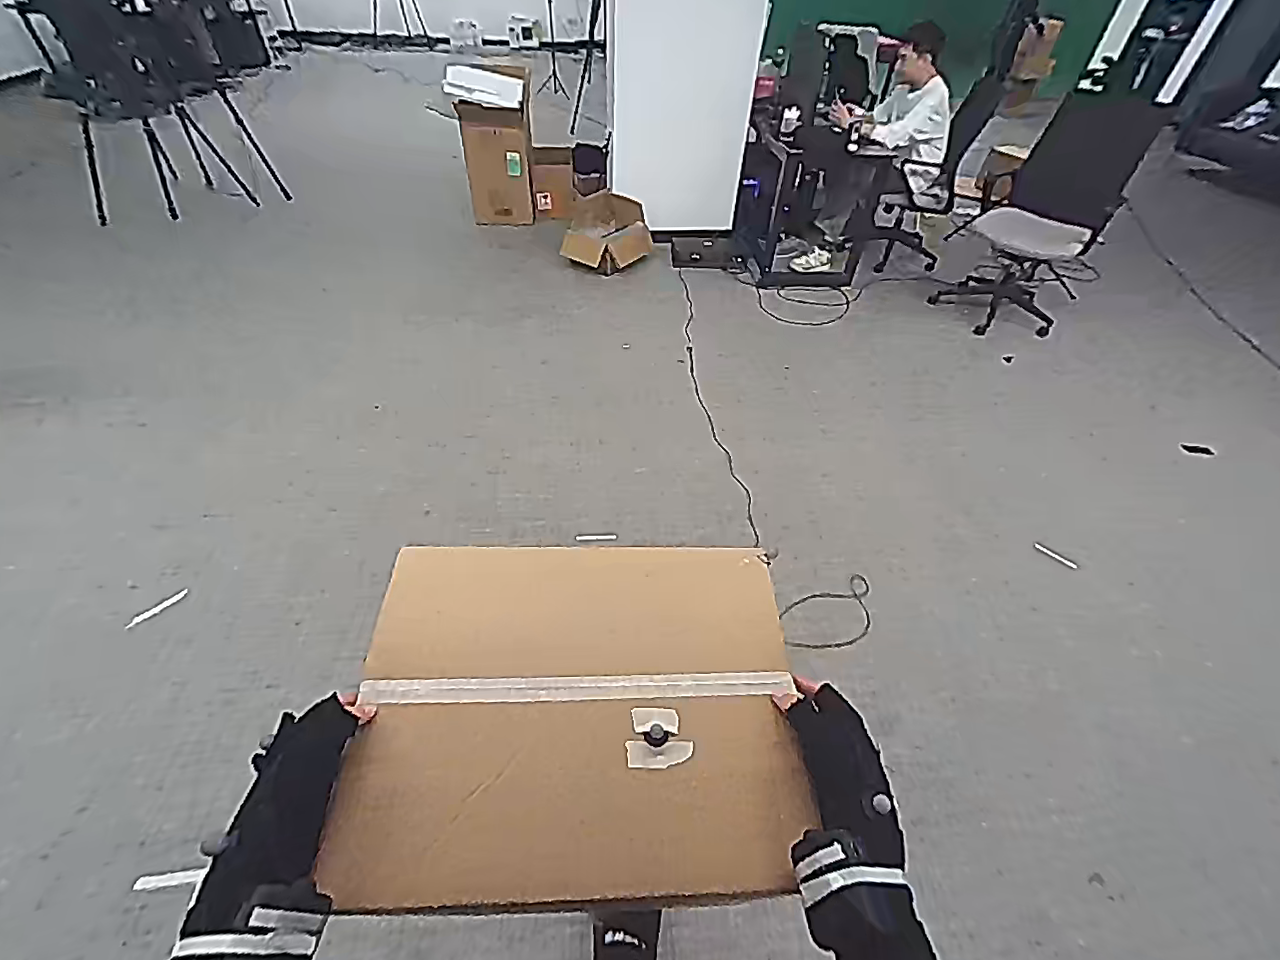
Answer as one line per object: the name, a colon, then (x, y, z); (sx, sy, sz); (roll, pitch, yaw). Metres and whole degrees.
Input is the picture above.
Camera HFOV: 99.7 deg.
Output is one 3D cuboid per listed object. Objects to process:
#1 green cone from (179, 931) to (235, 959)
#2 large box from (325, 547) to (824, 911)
green cone: (-0.856, 0.891, 0.887); (0.202, 0.368, 0.200); (-32, 54, -28)
large box: (-0.063, 0.291, 0.632); (0.408, 0.320, 0.320); (1, 51, -5)
